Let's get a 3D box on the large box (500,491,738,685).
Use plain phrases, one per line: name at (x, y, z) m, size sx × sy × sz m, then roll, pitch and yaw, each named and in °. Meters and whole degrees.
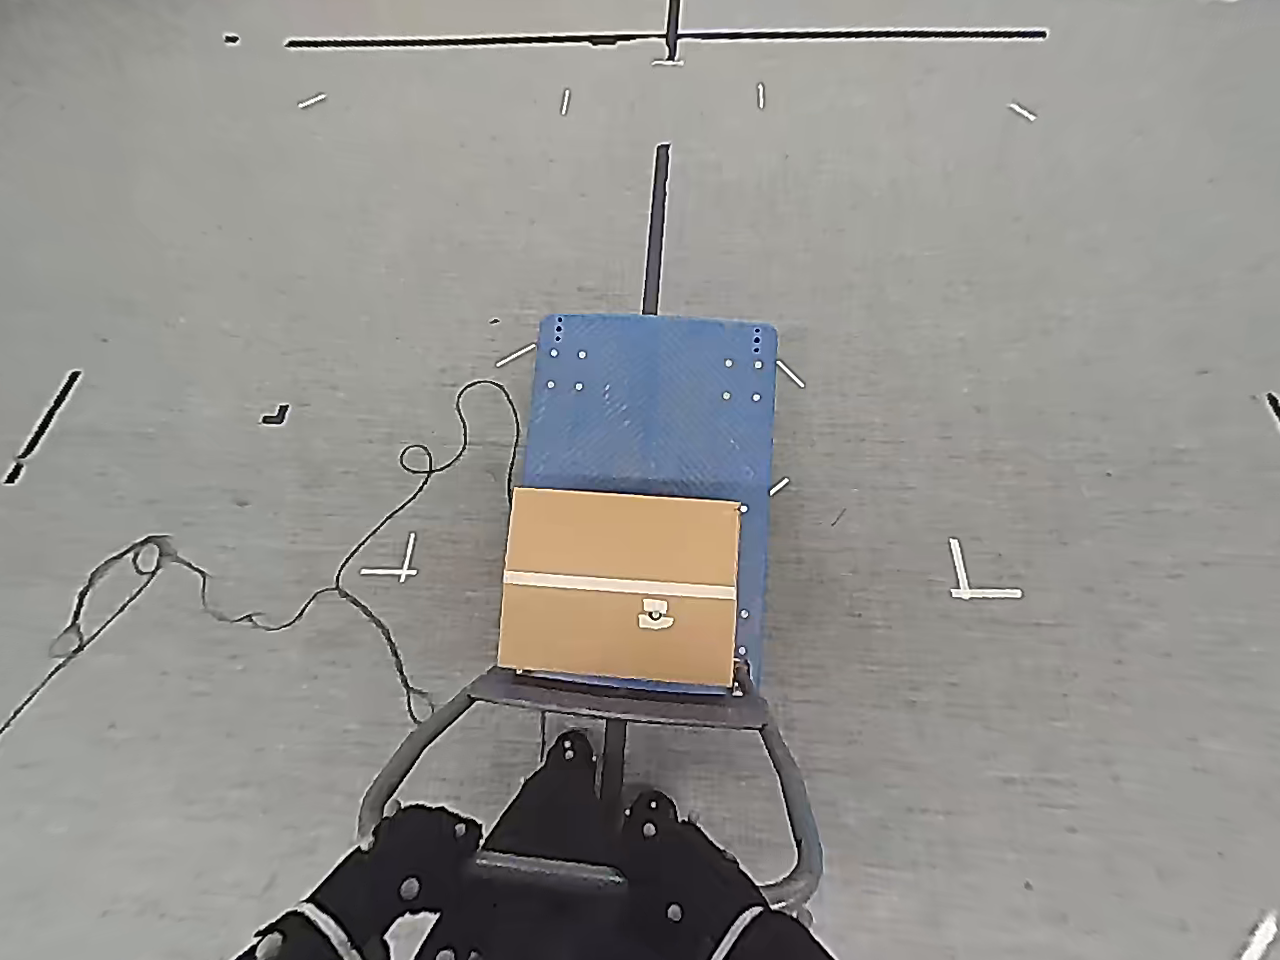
large box at (-0.031, 0.201, 1.077) m, size 0.408 × 0.320 × 0.320 m, roll 4°, pitch 84°, yaw 3°
